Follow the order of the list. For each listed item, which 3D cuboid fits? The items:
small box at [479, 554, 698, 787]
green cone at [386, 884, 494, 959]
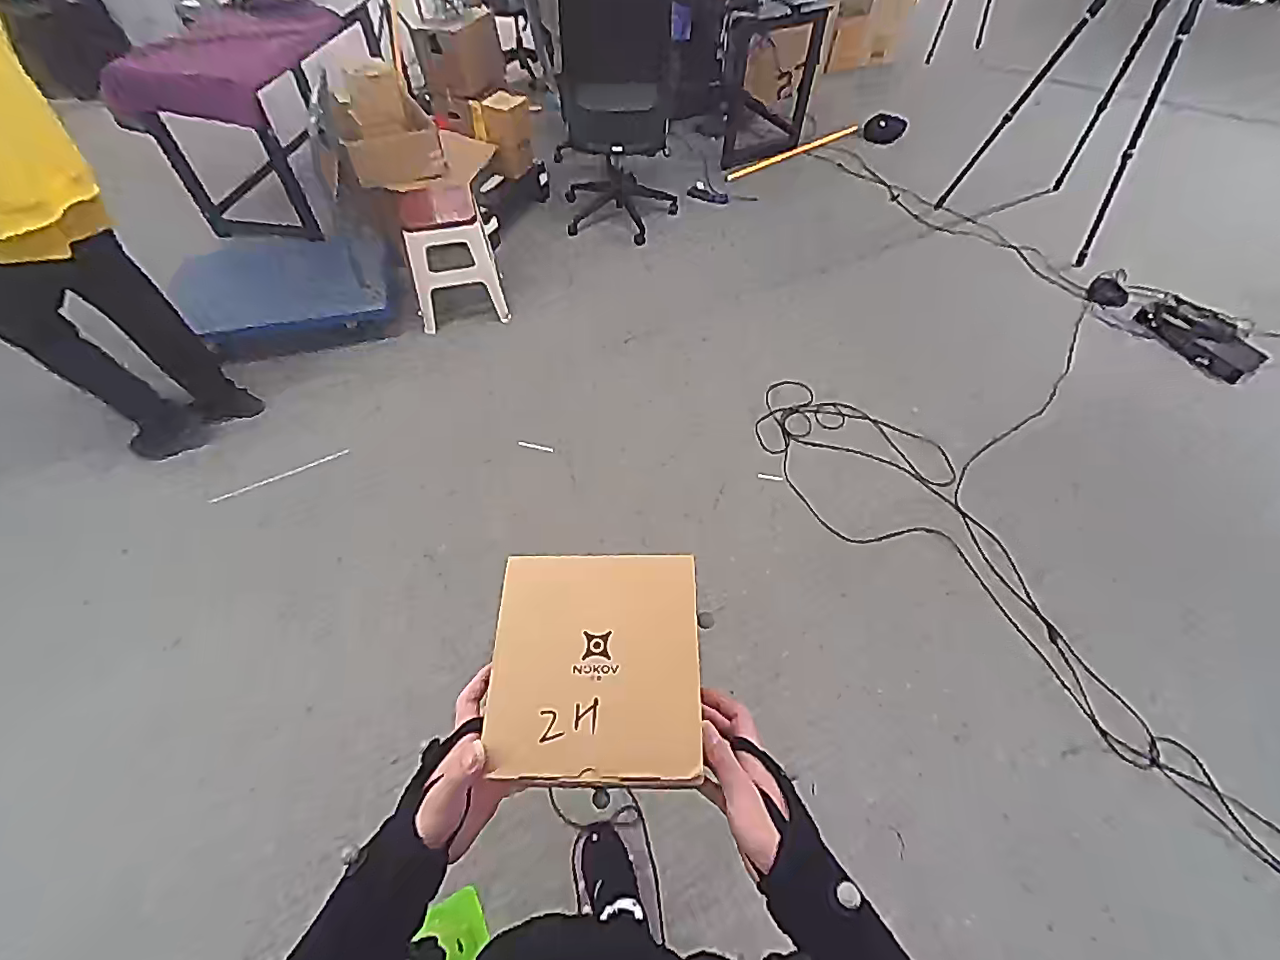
[{"bbox_3d":[-0.034,0.183,0.507,0.168,0.176,0.179,0,60,3],"label":"small box"},{"bbox_3d":[-0.435,0.953,1.059,0.202,0.368,0.200,-23,59,-18],"label":"green cone"}]
